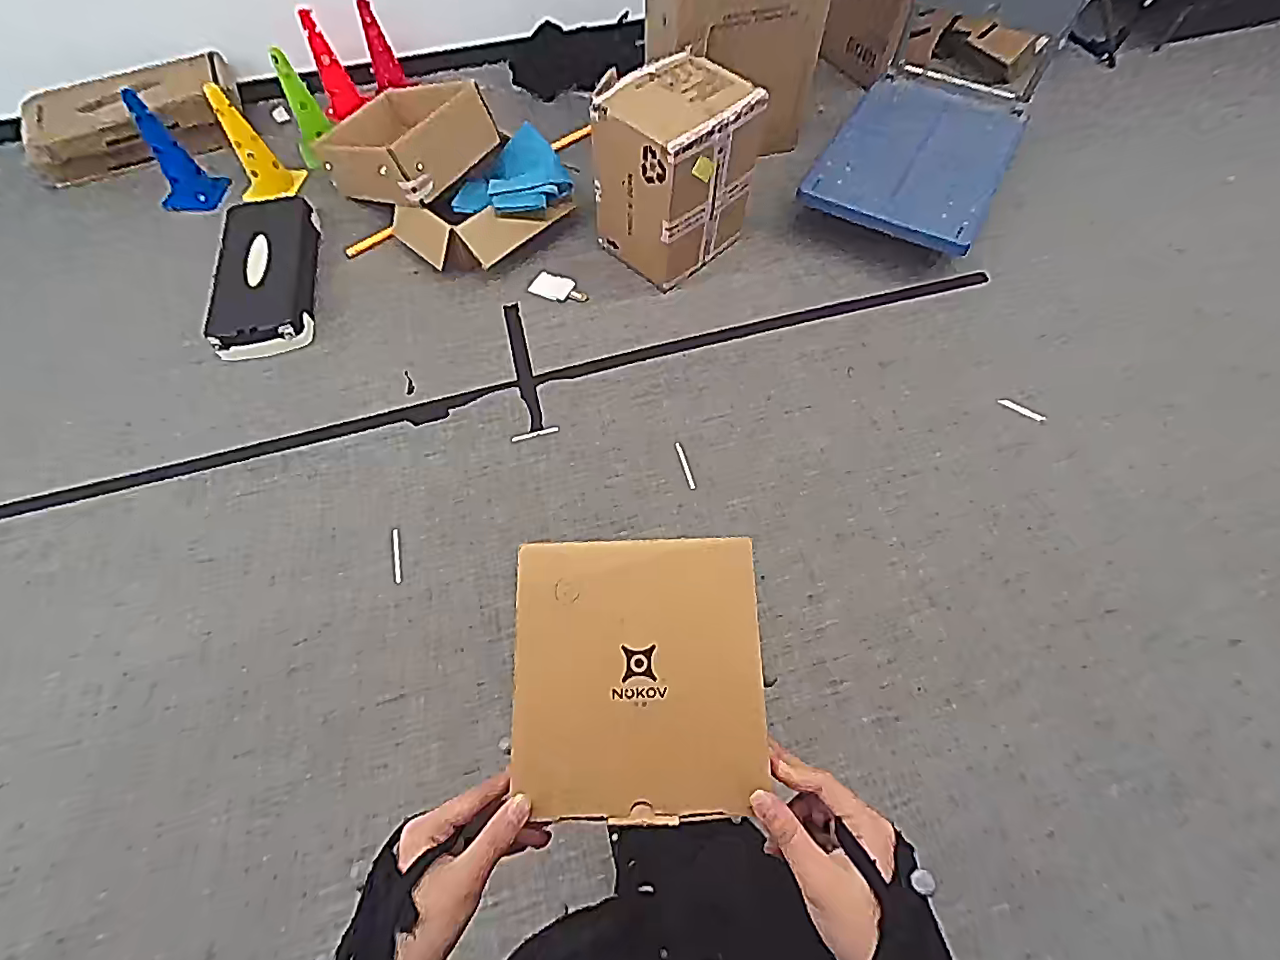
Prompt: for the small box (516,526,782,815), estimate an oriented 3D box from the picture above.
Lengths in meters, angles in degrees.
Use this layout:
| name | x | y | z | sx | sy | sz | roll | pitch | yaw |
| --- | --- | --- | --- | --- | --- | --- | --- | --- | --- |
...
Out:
| name | x | y | z | sx | sy | sz | roll | pitch | yaw |
| --- | --- | --- | --- | --- | --- | --- | --- | --- | --- |
| small box | 0.002 | 0.140 | 0.428 | 0.168 | 0.176 | 0.179 | -2 | 74 | -1 |
